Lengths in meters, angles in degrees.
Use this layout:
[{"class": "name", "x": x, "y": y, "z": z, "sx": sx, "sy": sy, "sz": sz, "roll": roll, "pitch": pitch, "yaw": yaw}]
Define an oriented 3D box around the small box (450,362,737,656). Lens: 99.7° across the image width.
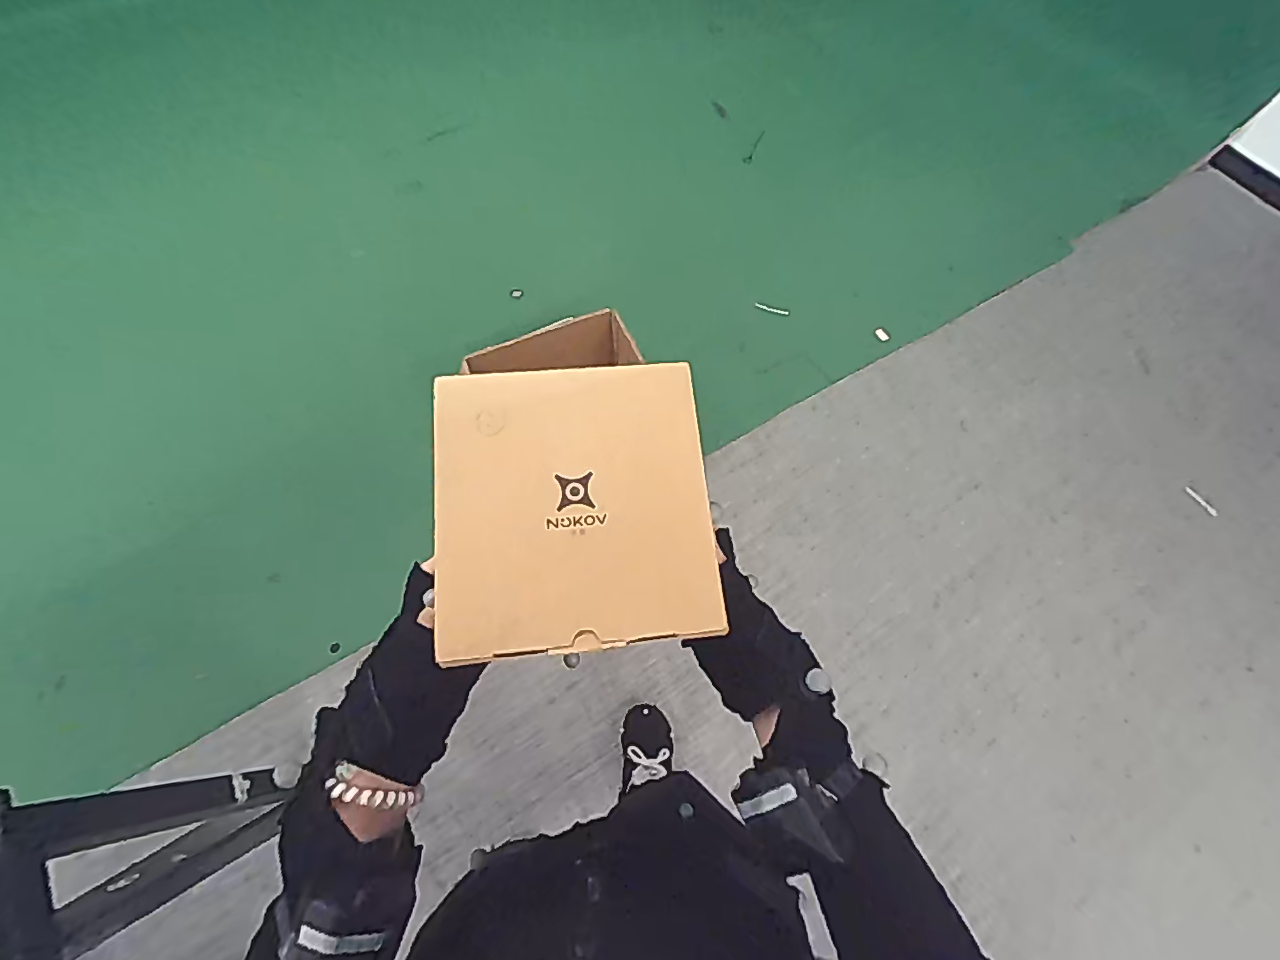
[{"class": "small box", "x": -0.041, "y": 0.031, "z": 0.405, "sx": 0.168, "sy": 0.176, "sz": 0.179, "roll": -5, "pitch": 75, "yaw": -7}]
